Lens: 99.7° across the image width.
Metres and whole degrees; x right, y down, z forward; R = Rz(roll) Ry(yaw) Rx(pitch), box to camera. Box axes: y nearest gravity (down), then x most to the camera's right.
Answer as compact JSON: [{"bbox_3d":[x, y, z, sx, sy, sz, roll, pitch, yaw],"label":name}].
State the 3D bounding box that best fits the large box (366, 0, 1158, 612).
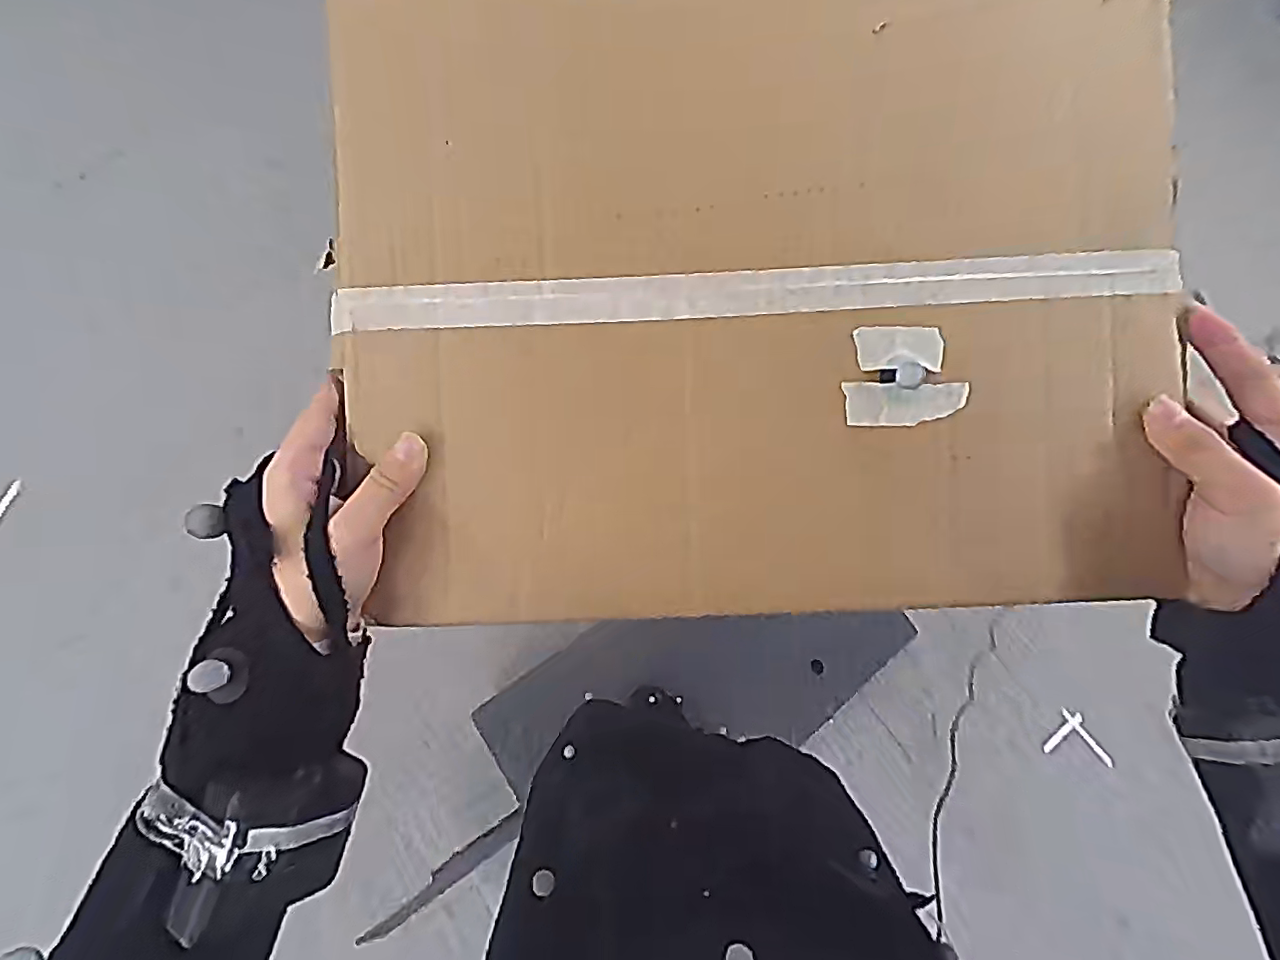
[{"bbox_3d":[0.061,-0.094,0.427,0.408,0.320,0.320,-2,91,0],"label":"large box"}]
